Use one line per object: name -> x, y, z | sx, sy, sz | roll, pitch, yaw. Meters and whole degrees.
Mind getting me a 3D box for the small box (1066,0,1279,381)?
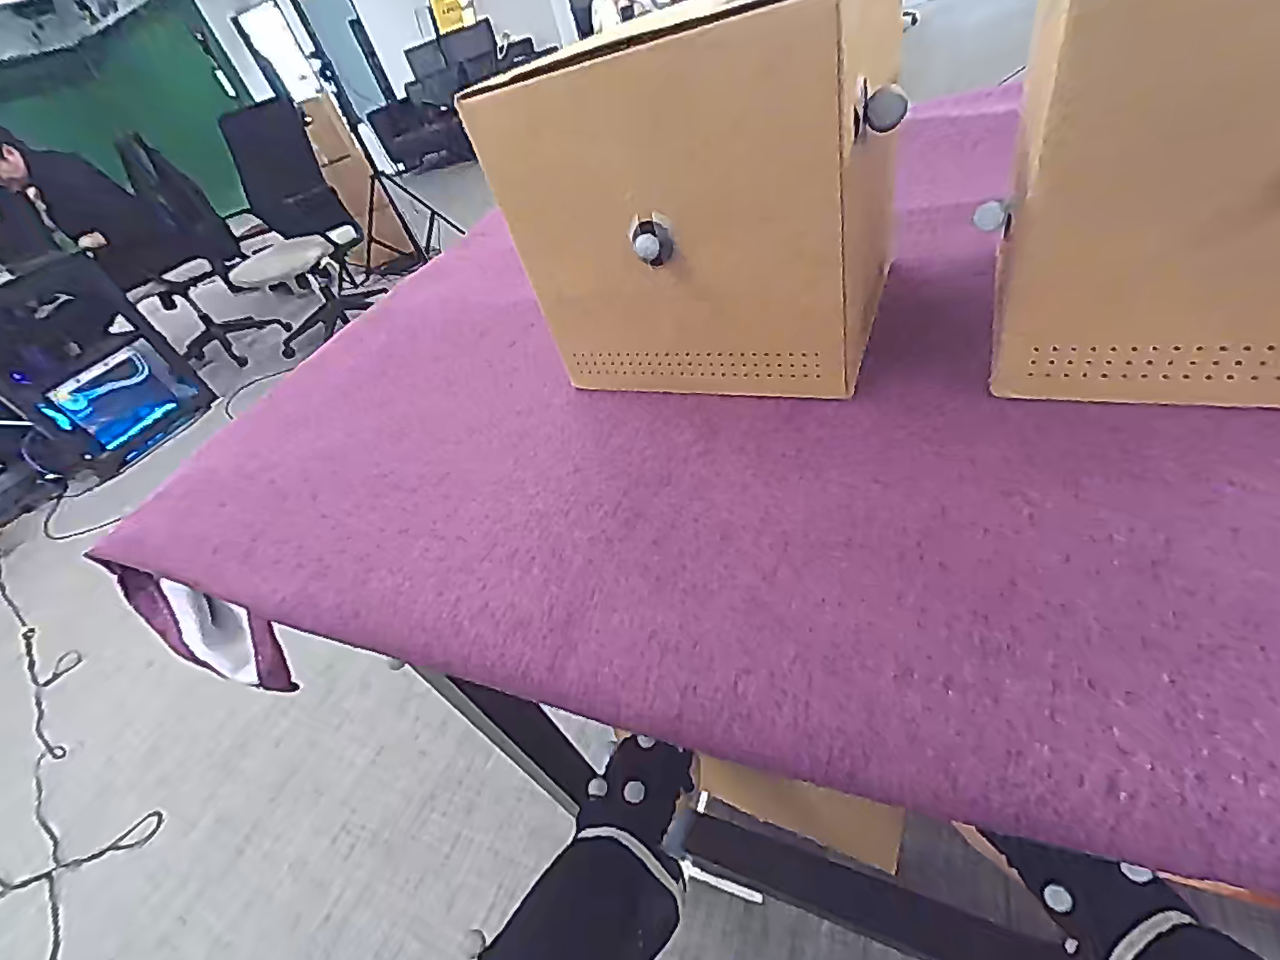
small box -> 0.297, -0.151, 0.176 | 0.179, 0.176, 0.168 | -12, 80, 16
